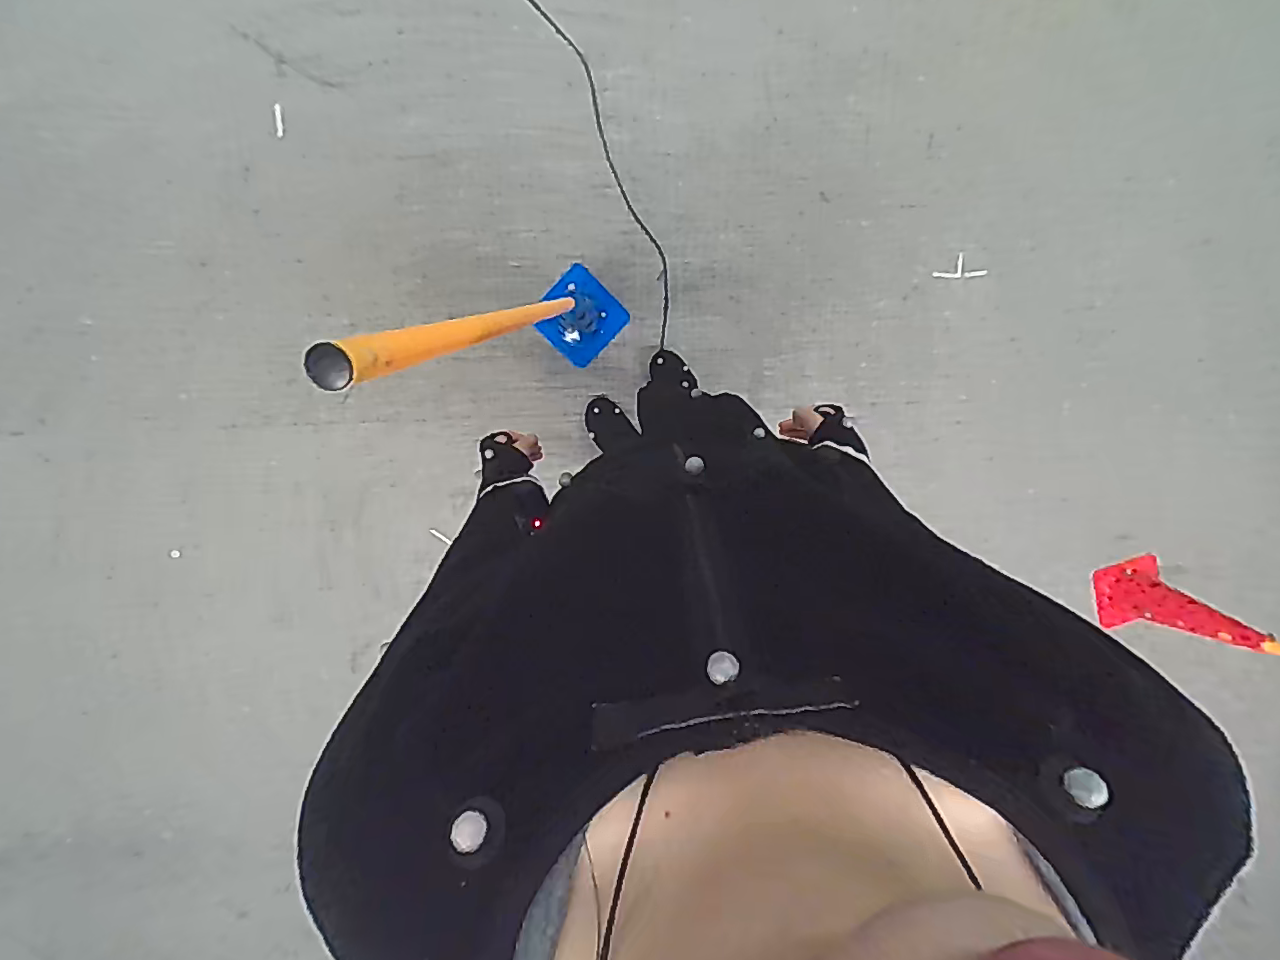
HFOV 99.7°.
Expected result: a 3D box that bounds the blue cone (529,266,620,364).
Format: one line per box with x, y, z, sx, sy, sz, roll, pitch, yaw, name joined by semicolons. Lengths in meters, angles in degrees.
-0.157;-0.379;1.219;0.192;0.380;0.193;42;98;-11;blue cone
